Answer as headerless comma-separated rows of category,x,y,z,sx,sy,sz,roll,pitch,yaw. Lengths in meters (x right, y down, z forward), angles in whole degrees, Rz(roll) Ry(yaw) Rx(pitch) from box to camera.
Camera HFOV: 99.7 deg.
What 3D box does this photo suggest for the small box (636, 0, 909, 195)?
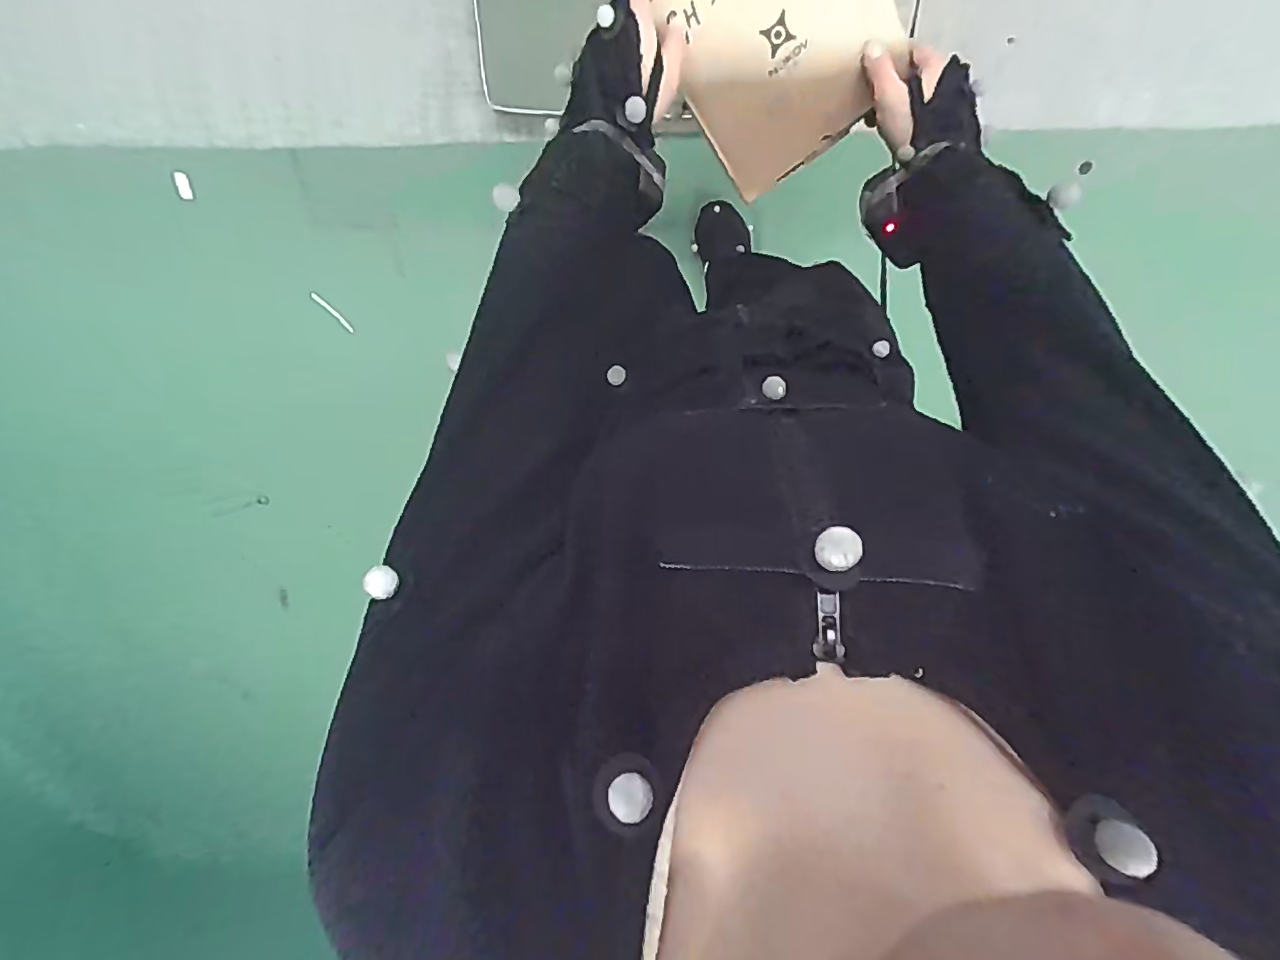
small box,0.111,-0.410,0.498,0.168,0.176,0.179,-30,125,22
